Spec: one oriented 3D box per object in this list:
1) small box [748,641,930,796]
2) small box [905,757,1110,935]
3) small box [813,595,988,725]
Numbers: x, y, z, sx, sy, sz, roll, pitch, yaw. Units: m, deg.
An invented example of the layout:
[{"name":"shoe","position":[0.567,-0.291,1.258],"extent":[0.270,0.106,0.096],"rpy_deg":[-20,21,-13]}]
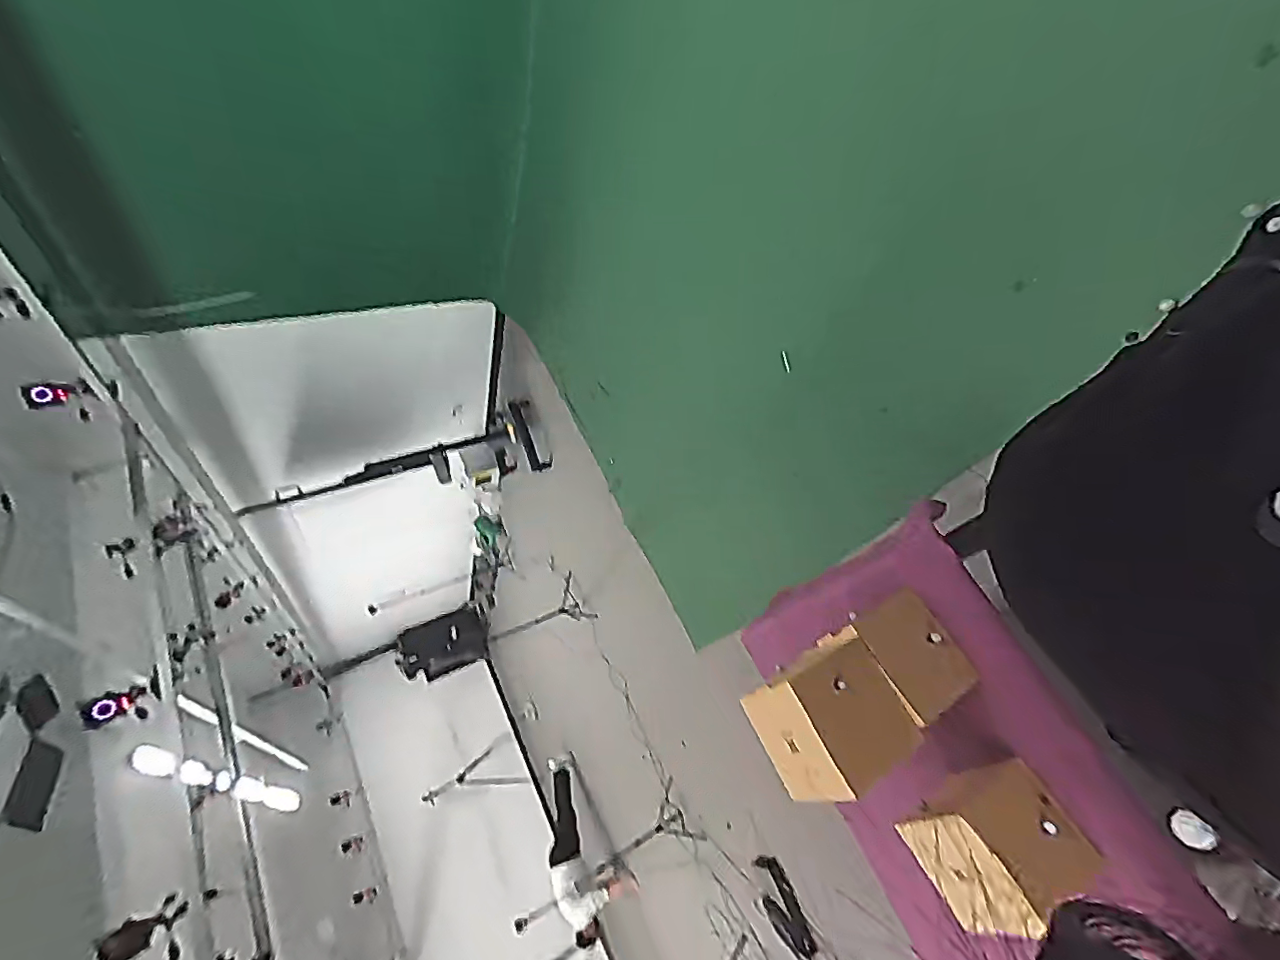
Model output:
[{"name":"small box","position":[0.314,0.377,0.871],"extent":[0.179,0.176,0.168],"rpy_deg":[61,150,19]},{"name":"small box","position":[0.578,0.573,0.859],"extent":[0.168,0.176,0.179],"rpy_deg":[56,149,26]},{"name":"small box","position":[0.449,0.320,0.945],"extent":[0.179,0.176,0.168],"rpy_deg":[58,149,24]}]
